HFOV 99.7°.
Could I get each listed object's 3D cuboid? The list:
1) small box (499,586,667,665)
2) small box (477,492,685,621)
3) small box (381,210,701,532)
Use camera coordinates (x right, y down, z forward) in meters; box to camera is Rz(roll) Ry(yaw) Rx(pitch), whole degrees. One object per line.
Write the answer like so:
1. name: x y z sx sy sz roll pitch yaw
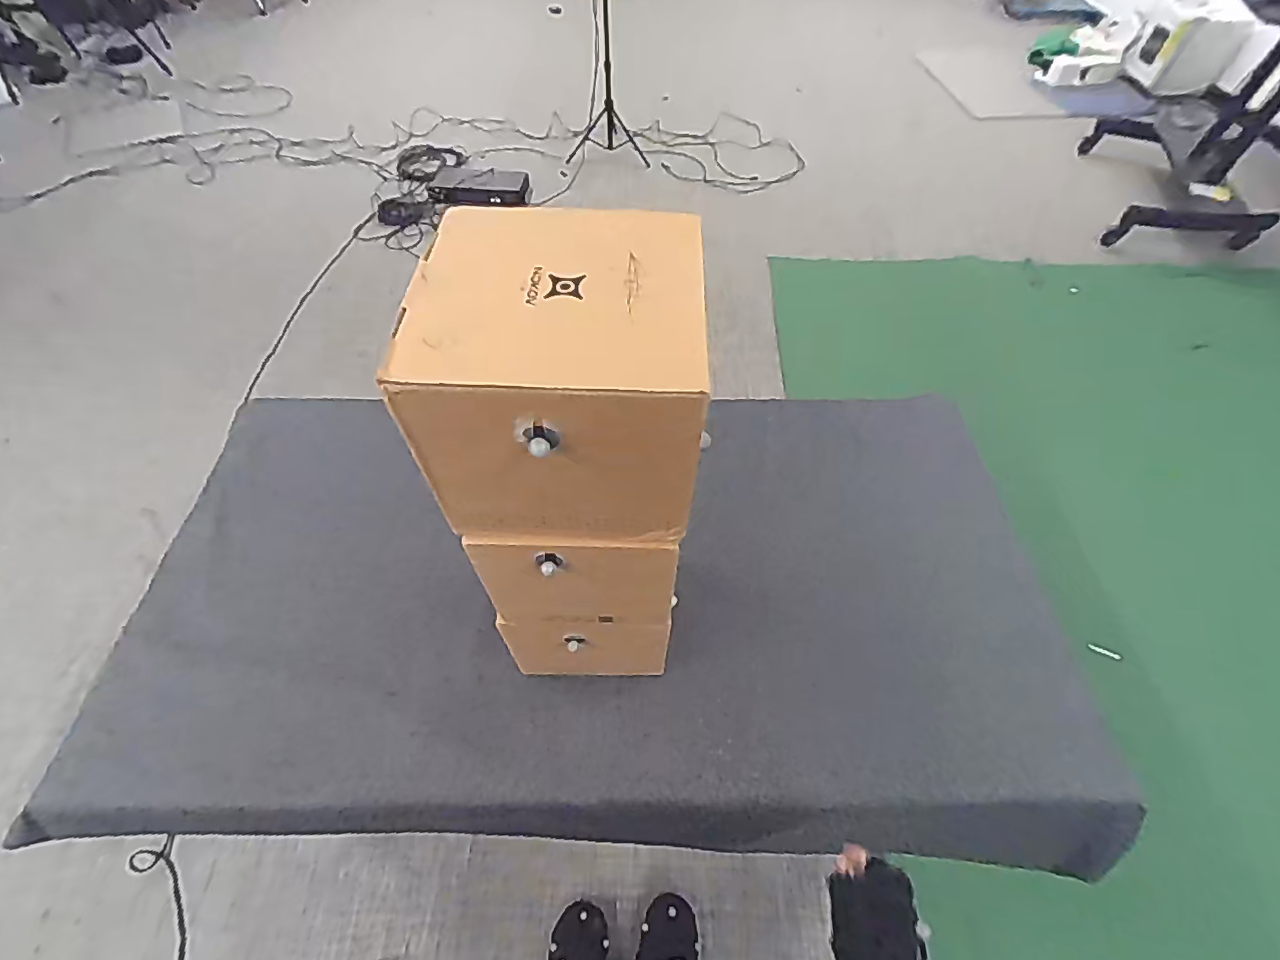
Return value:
1. small box: -0.057 0.121 0.661 0.179 0.176 0.168 1 54 0
2. small box: -0.050 0.024 0.533 0.168 0.176 0.179 0 55 -2
3. small box: -0.051 -0.072 0.399 0.179 0.176 0.168 2 56 0
